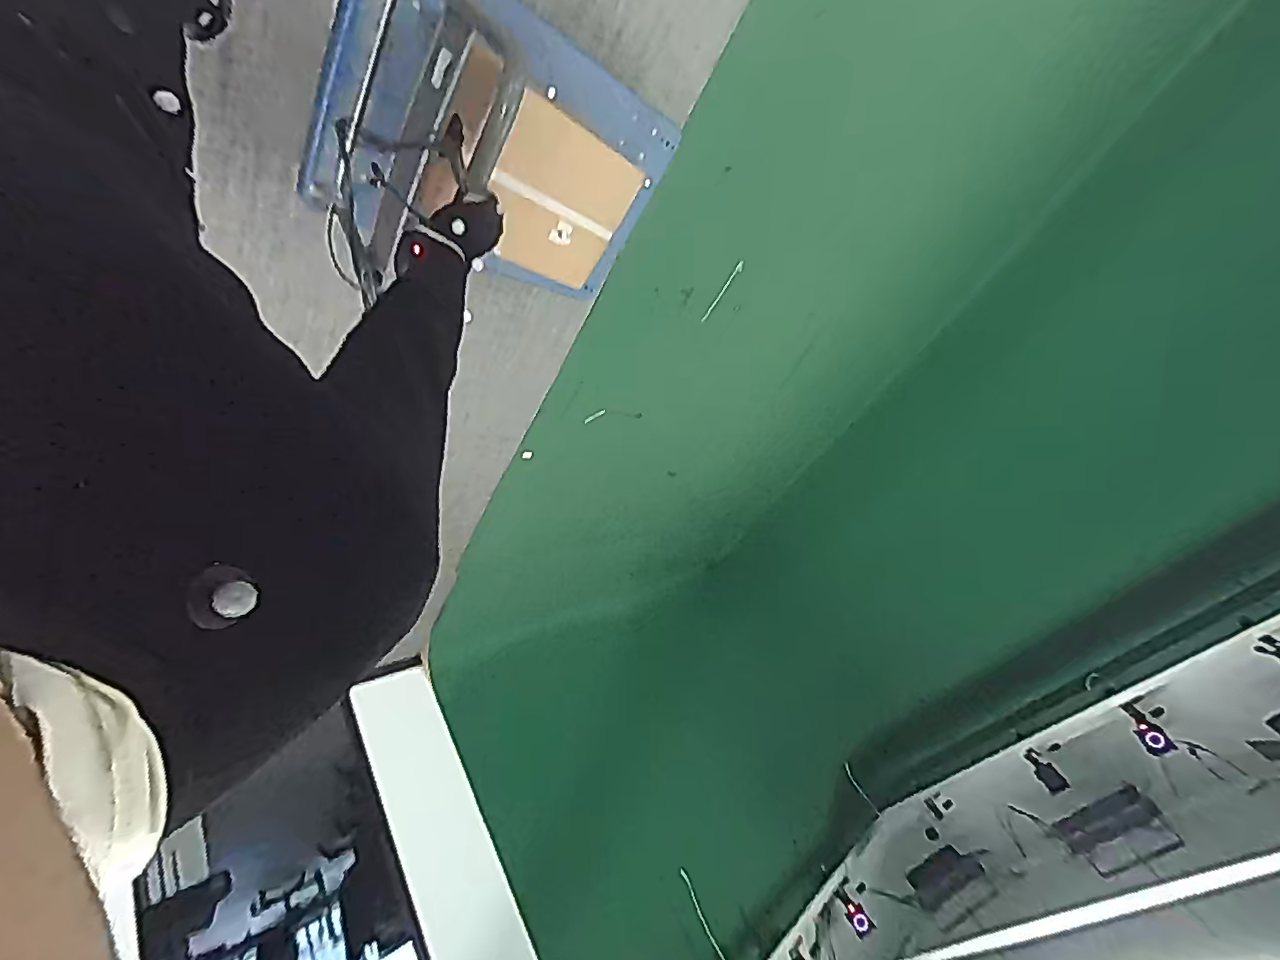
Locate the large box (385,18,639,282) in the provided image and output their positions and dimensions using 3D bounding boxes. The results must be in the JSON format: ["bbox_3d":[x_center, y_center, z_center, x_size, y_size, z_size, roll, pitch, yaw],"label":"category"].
[{"bbox_3d":[-0.291,-0.718,1.227,0.408,0.320,0.320,2,135,-51],"label":"large box"}]
